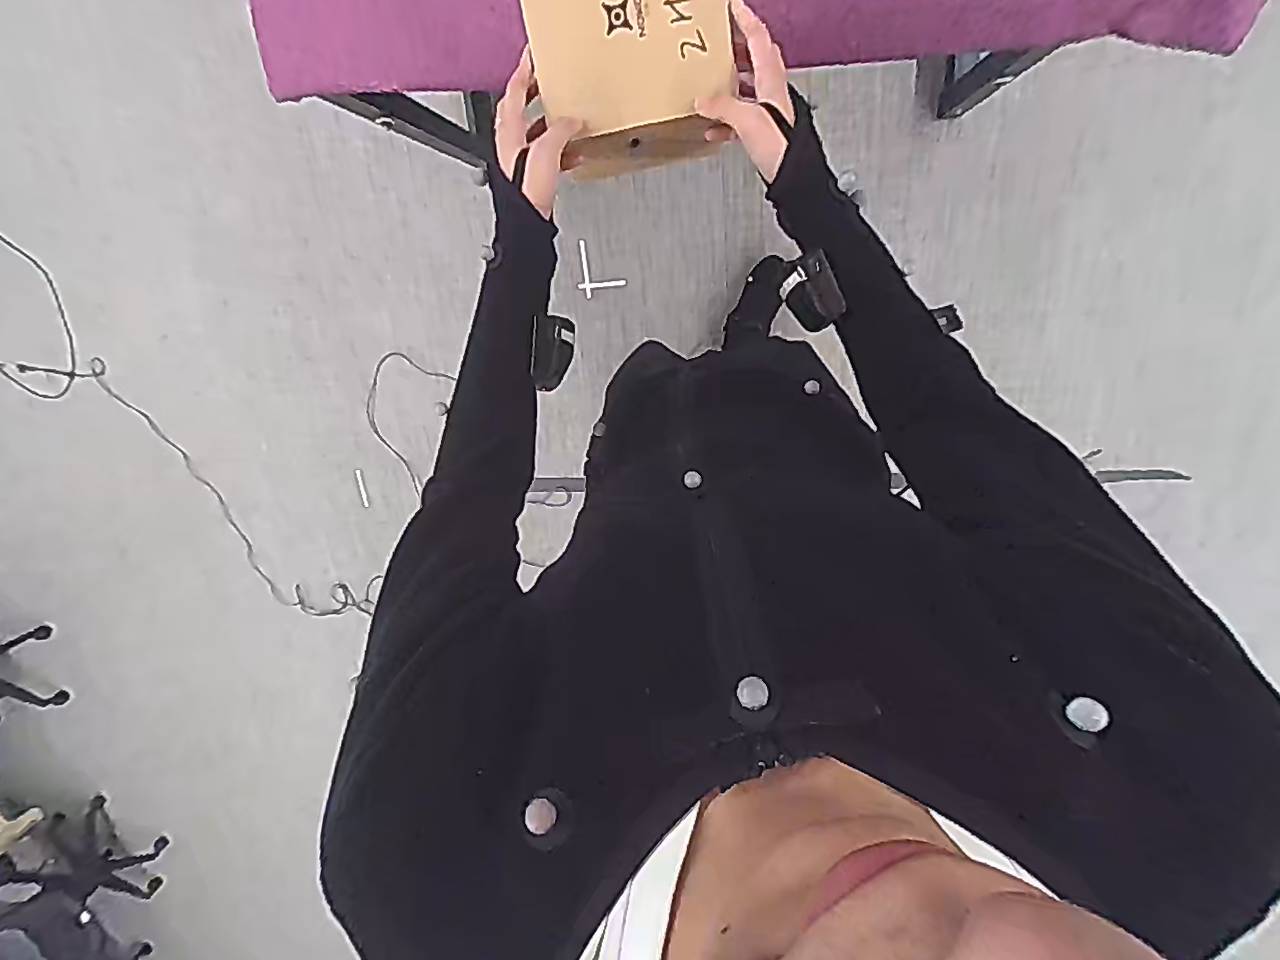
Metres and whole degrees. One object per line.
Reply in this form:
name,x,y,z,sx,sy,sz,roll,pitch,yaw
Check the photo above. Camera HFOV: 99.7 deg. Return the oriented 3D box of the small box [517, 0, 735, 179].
small box,-0.012,-0.416,0.535,0.179,0.176,0.168,-9,108,3
